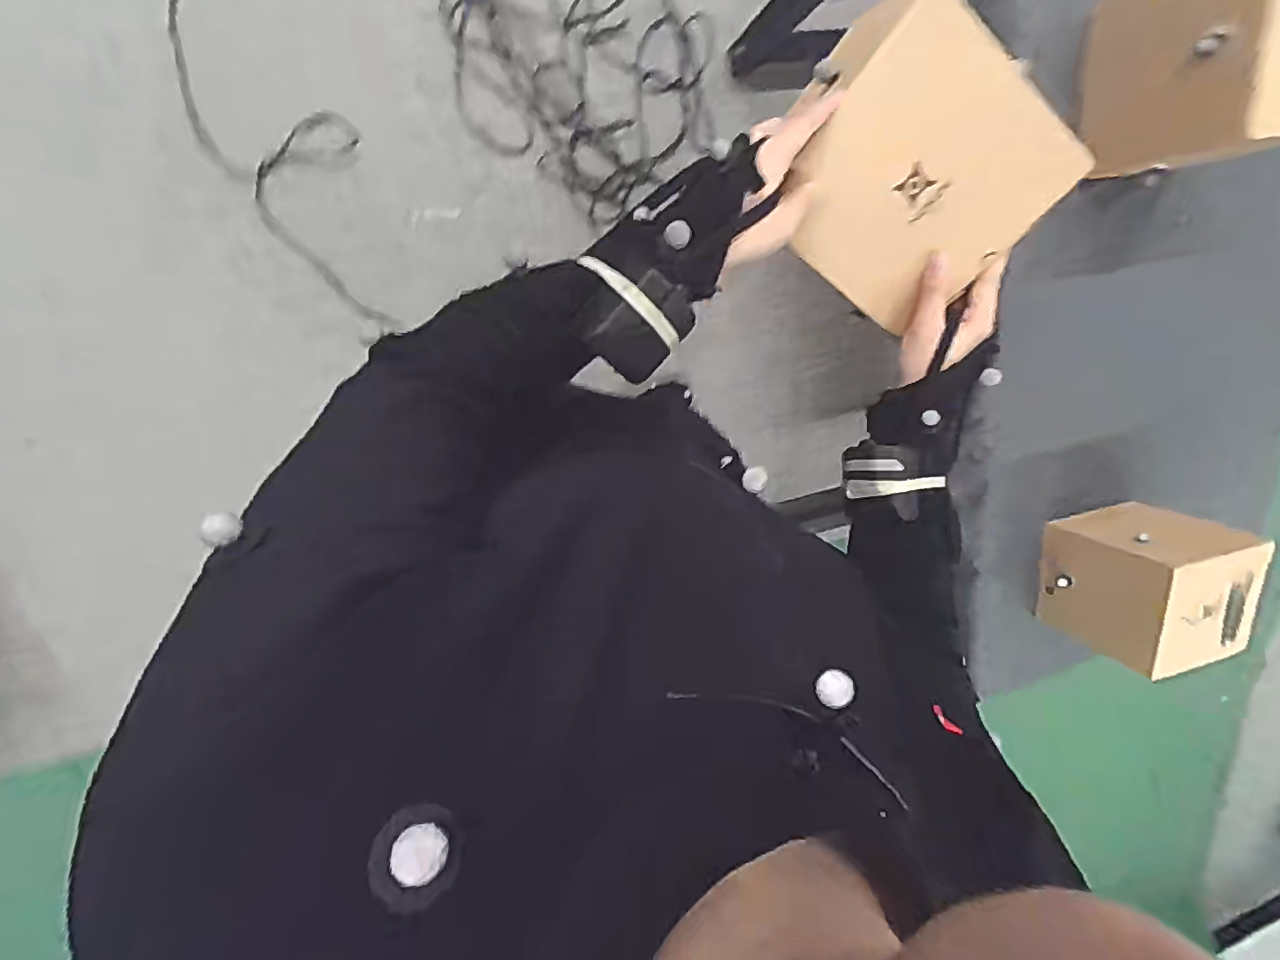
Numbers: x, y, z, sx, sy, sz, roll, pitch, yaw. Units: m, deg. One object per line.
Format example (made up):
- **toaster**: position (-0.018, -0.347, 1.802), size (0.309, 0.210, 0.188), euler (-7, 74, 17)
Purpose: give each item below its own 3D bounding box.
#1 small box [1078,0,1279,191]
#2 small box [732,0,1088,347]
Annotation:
- **small box**: position (0.619, -0.431, 0.580), size (0.168, 0.176, 0.179), euler (-12, 108, -12)
- **small box**: position (0.197, -0.248, 0.452), size (0.179, 0.176, 0.168), euler (31, 119, -18)
